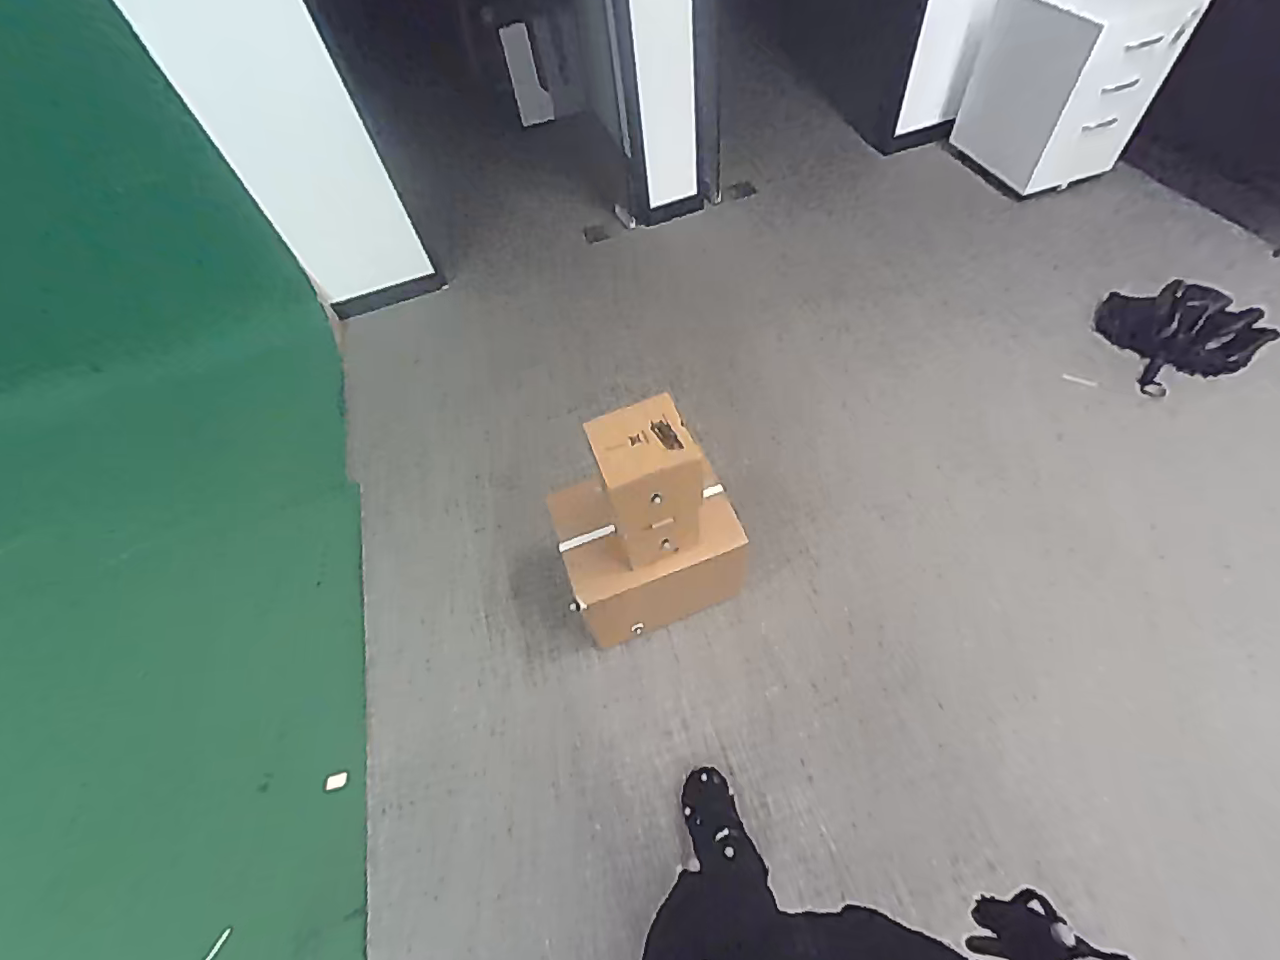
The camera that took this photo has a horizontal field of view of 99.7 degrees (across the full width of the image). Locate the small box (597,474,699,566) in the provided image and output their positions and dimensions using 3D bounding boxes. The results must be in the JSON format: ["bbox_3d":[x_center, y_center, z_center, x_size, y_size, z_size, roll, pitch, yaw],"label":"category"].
[{"bbox_3d":[0.022,0.067,1.174,0.168,0.176,0.179,-21,57,-6],"label":"small box"}]

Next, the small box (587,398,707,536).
[{"bbox_3d":[0.014,-0.022,1.035,0.179,0.176,0.168,-21,57,-8],"label":"small box"}]
